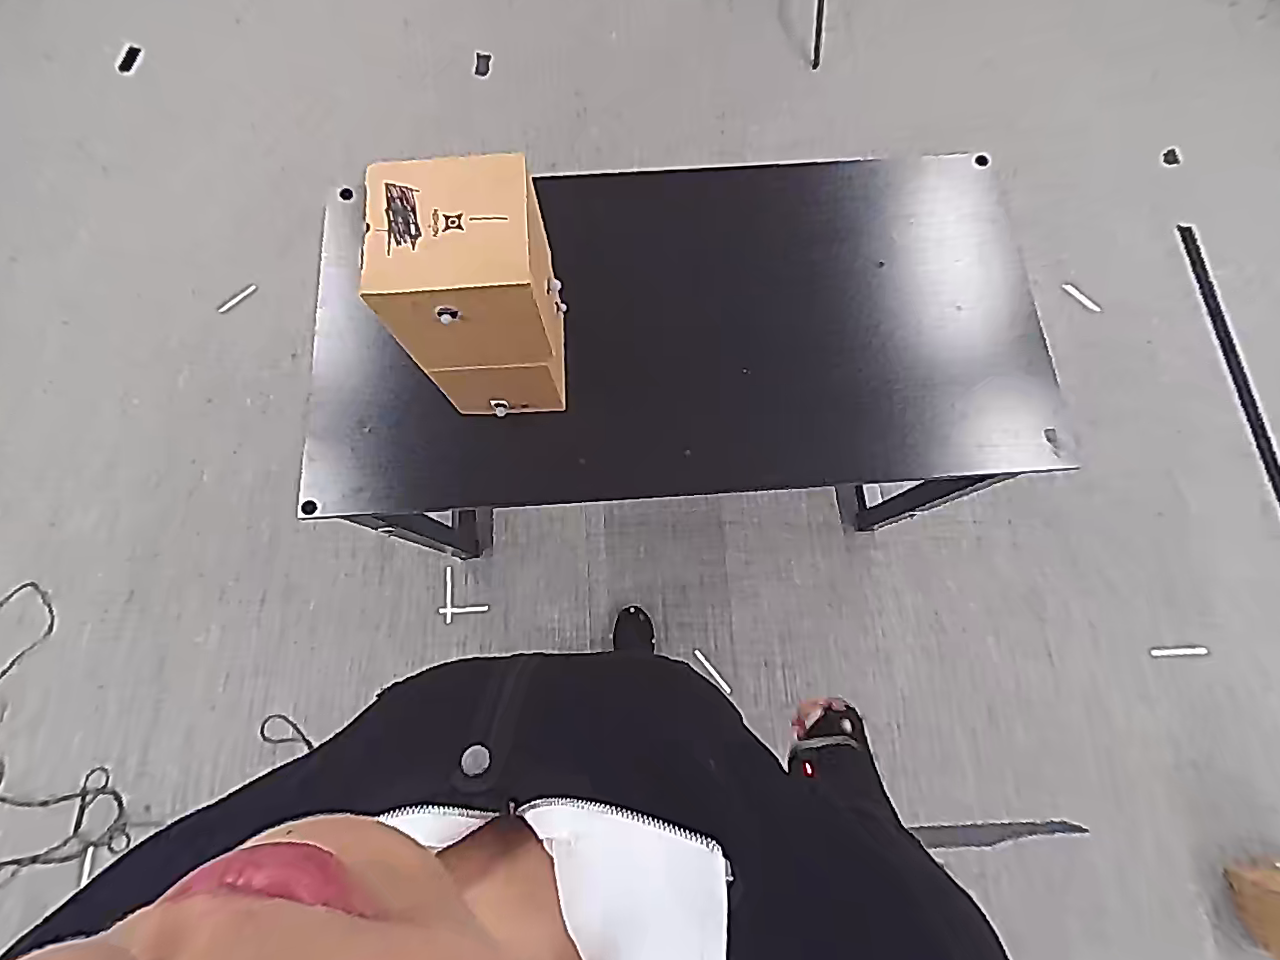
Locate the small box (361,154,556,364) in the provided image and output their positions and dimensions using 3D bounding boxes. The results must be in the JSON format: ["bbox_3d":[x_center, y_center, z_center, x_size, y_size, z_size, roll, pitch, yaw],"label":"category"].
[{"bbox_3d":[-0.203,-0.251,0.647,0.179,0.176,0.168,-5,75,-1],"label":"small box"}]

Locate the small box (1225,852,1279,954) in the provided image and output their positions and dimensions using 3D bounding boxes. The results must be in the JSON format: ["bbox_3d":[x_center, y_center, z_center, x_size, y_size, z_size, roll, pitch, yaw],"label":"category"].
[{"bbox_3d":[1.542,1.003,1.249,0.168,0.176,0.179,-9,76,-3],"label":"small box"}]

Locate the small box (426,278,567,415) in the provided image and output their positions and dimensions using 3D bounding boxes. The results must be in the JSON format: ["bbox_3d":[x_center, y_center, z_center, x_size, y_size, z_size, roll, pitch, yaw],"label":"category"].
[{"bbox_3d":[-0.203,-0.211,0.806,0.168,0.176,0.179,-4,76,0],"label":"small box"}]
